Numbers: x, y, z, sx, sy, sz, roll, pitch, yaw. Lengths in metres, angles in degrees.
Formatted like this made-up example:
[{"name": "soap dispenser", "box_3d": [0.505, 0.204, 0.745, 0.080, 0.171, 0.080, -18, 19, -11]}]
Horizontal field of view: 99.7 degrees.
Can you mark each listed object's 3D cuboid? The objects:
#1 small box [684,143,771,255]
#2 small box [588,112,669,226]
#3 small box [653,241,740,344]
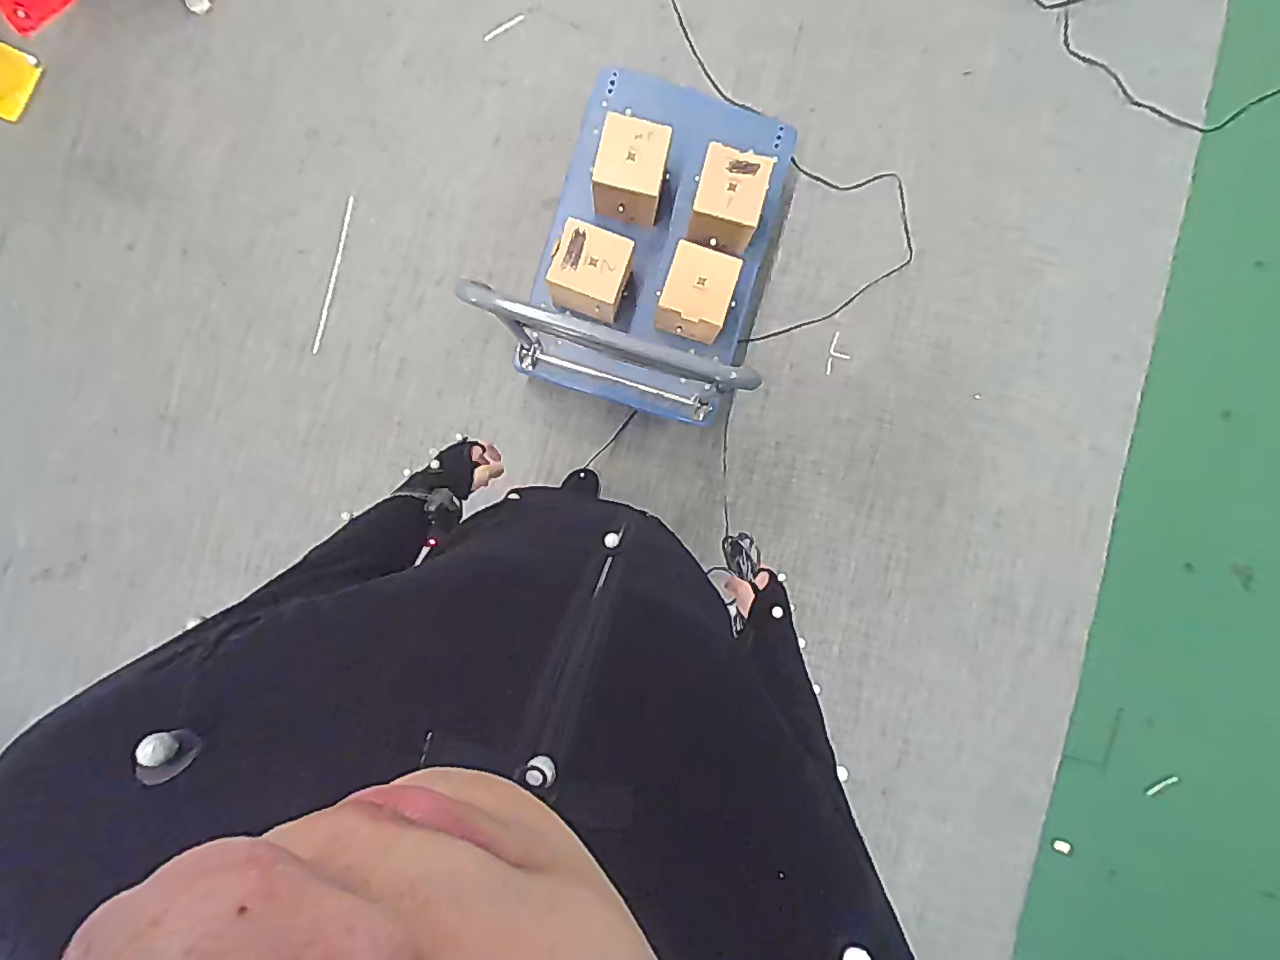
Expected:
[{"name": "small box", "box_3d": [0.217, -0.715, 1.392, 0.168, 0.176, 0.179, 15, 91, -2]}, {"name": "small box", "box_3d": [-0.030, -0.782, 1.380, 0.168, 0.176, 0.179, 13, 90, -3]}, {"name": "small box", "box_3d": [0.137, -0.474, 1.391, 0.168, 0.176, 0.179, 18, 90, -3]}]
